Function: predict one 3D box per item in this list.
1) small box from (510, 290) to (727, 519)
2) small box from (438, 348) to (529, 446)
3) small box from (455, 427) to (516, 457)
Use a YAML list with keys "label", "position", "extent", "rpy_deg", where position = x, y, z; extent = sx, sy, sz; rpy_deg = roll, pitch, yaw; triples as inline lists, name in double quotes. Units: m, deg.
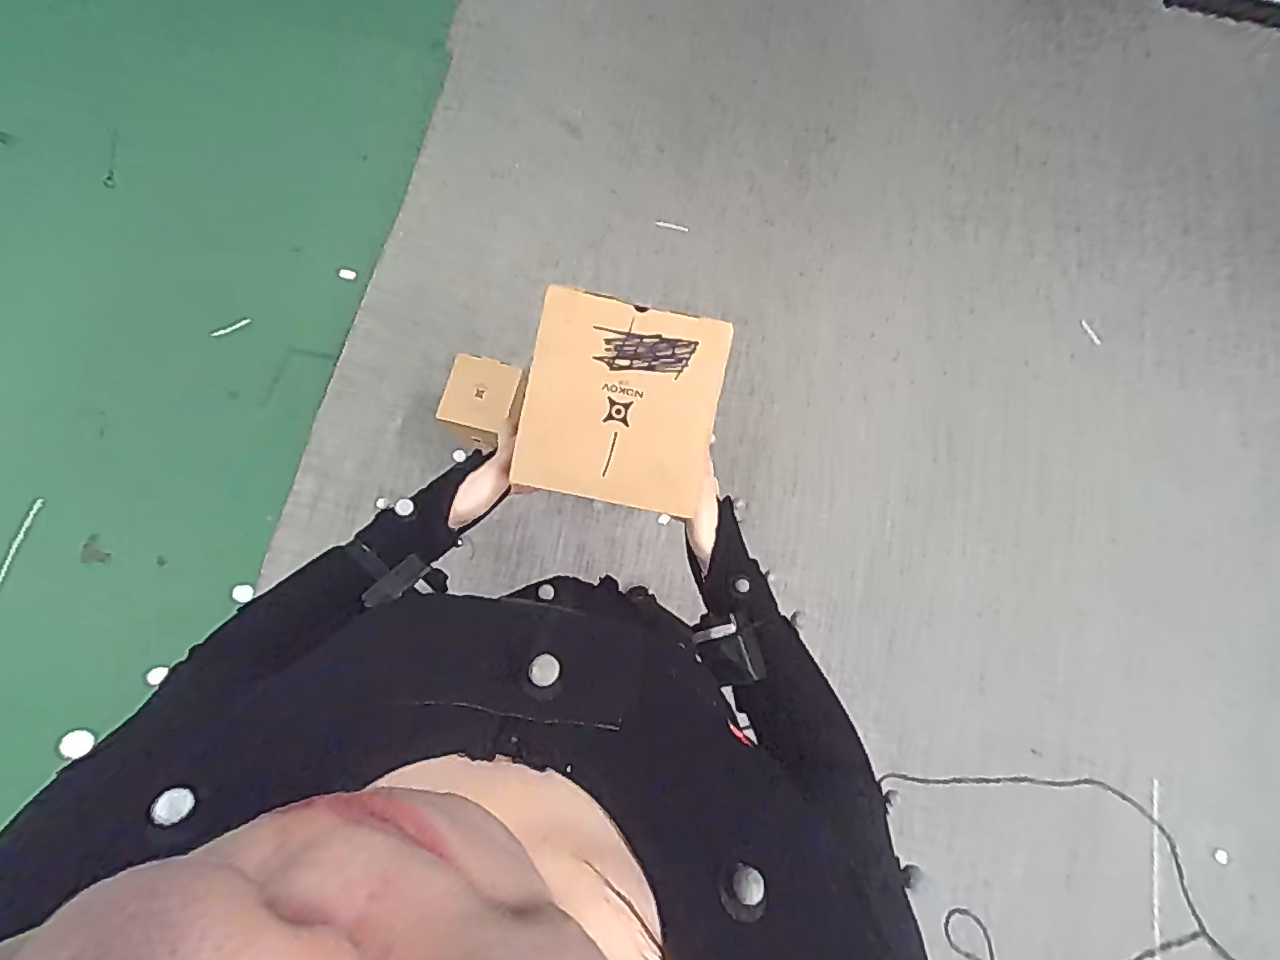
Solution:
- label: "small box"
  position: [-0.022, -0.068, 0.559]
  extent: [0.168, 0.176, 0.179]
  rpy_deg: [12, 91, -2]
- label: "small box"
  position: [-0.385, -0.205, 1.371]
  extent: [0.168, 0.176, 0.179]
  rpy_deg: [14, 79, 1]
- label: "small box"
  position: [-0.395, -0.175, 1.531]
  extent: [0.168, 0.176, 0.179]
  rpy_deg: [17, 79, 1]
